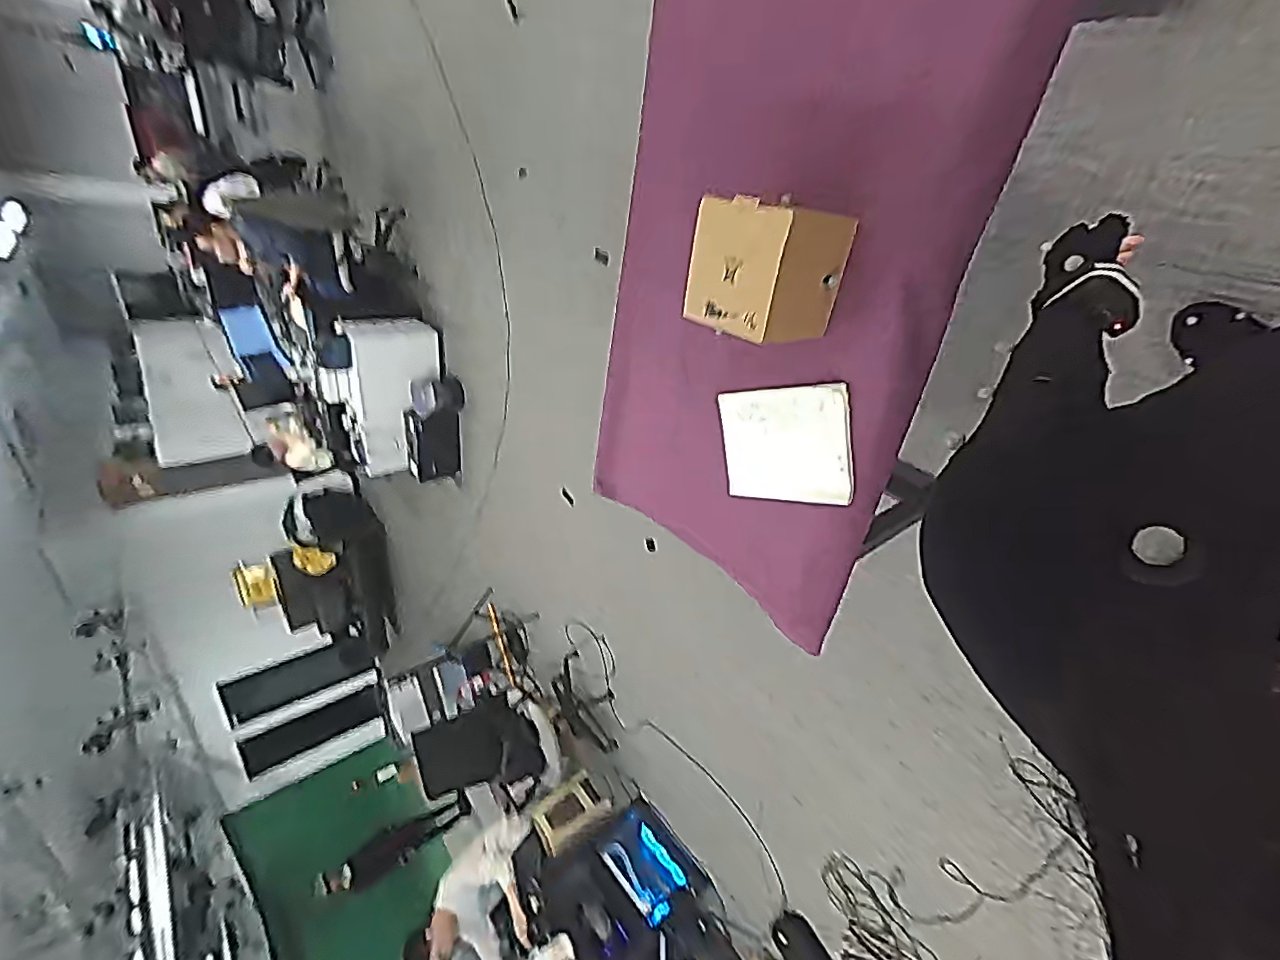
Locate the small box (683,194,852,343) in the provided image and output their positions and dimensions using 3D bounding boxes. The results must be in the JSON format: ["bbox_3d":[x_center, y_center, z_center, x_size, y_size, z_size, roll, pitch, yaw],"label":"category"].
[{"bbox_3d":[0.194,-0.321,0.823,0.168,0.176,0.179,35,128,40],"label":"small box"}]
